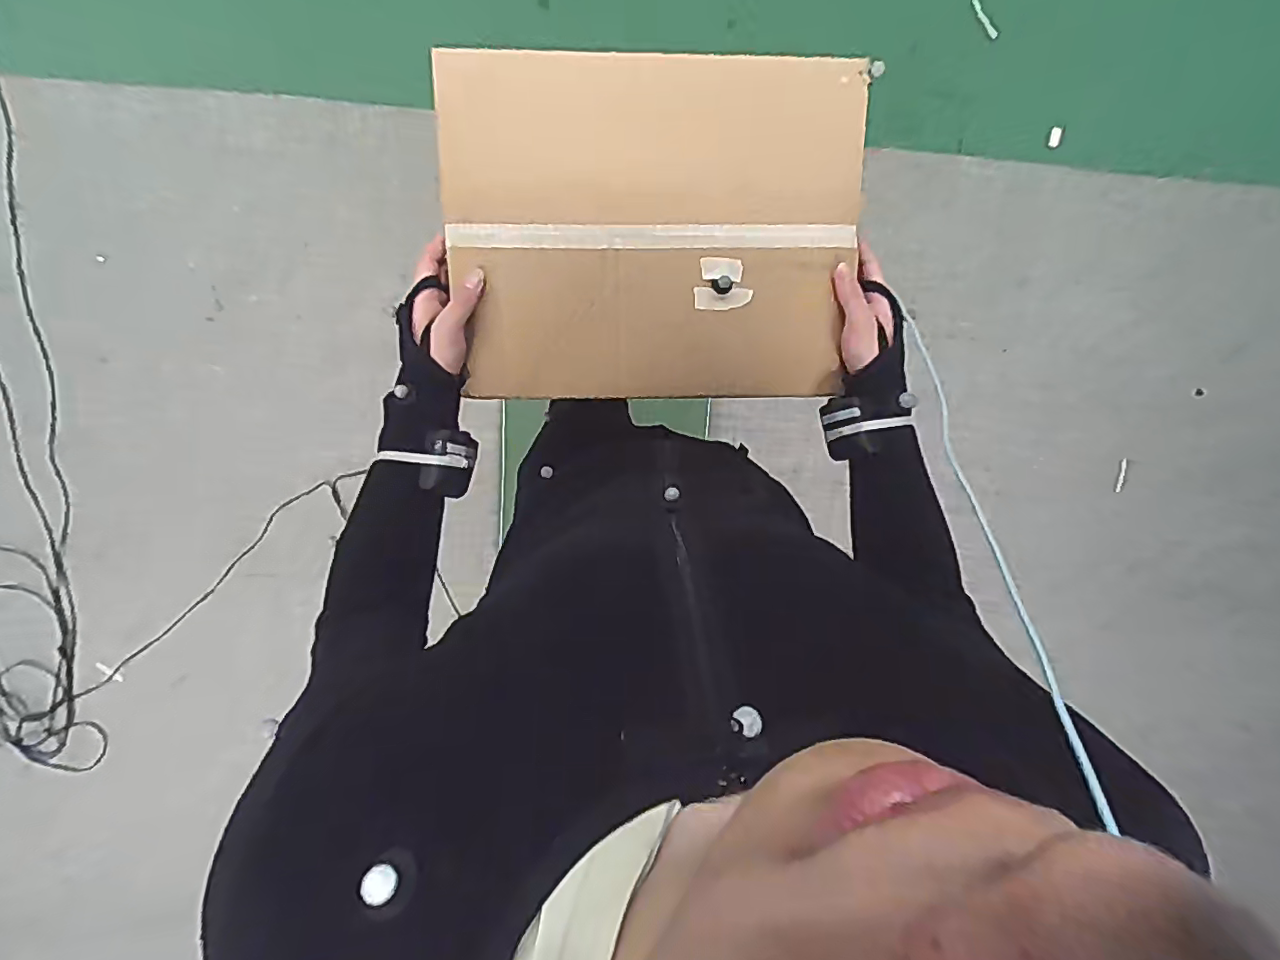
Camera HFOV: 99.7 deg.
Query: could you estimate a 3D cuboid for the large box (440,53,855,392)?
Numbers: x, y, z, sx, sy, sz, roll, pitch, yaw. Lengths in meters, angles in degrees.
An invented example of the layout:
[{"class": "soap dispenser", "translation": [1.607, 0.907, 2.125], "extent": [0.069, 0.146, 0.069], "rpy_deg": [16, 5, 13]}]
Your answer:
[{"class": "large box", "translation": [0.003, -0.280, 0.686], "extent": [0.408, 0.320, 0.320], "rpy_deg": [-1, 102, -3]}]
